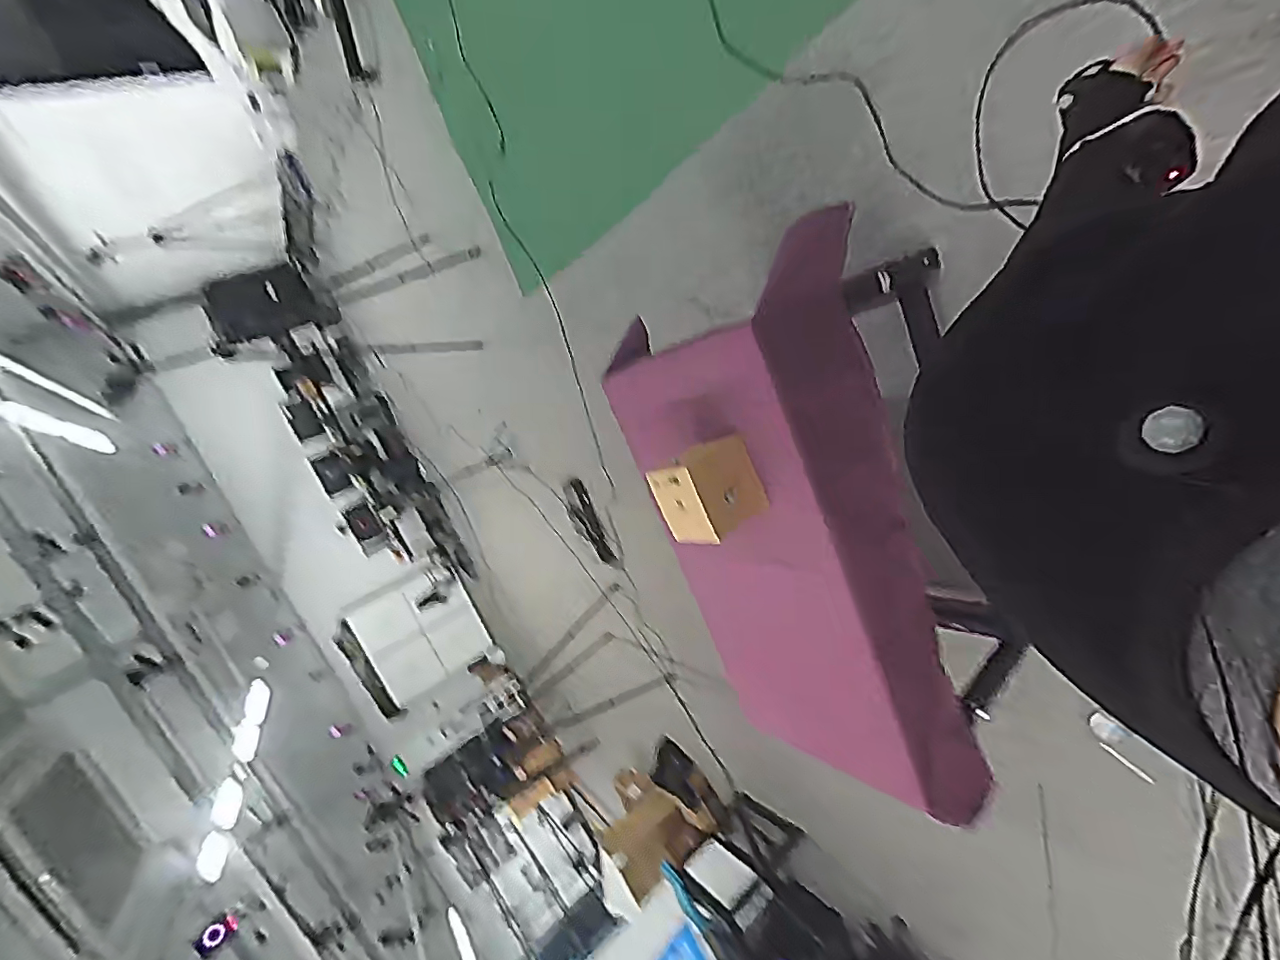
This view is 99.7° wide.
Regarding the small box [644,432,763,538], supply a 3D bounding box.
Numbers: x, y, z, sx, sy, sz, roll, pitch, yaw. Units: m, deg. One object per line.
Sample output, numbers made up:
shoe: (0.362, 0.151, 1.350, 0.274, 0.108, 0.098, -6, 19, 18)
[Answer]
small box: (0.147, 0.012, 1.215, 0.168, 0.176, 0.179, -8, 109, 59)
